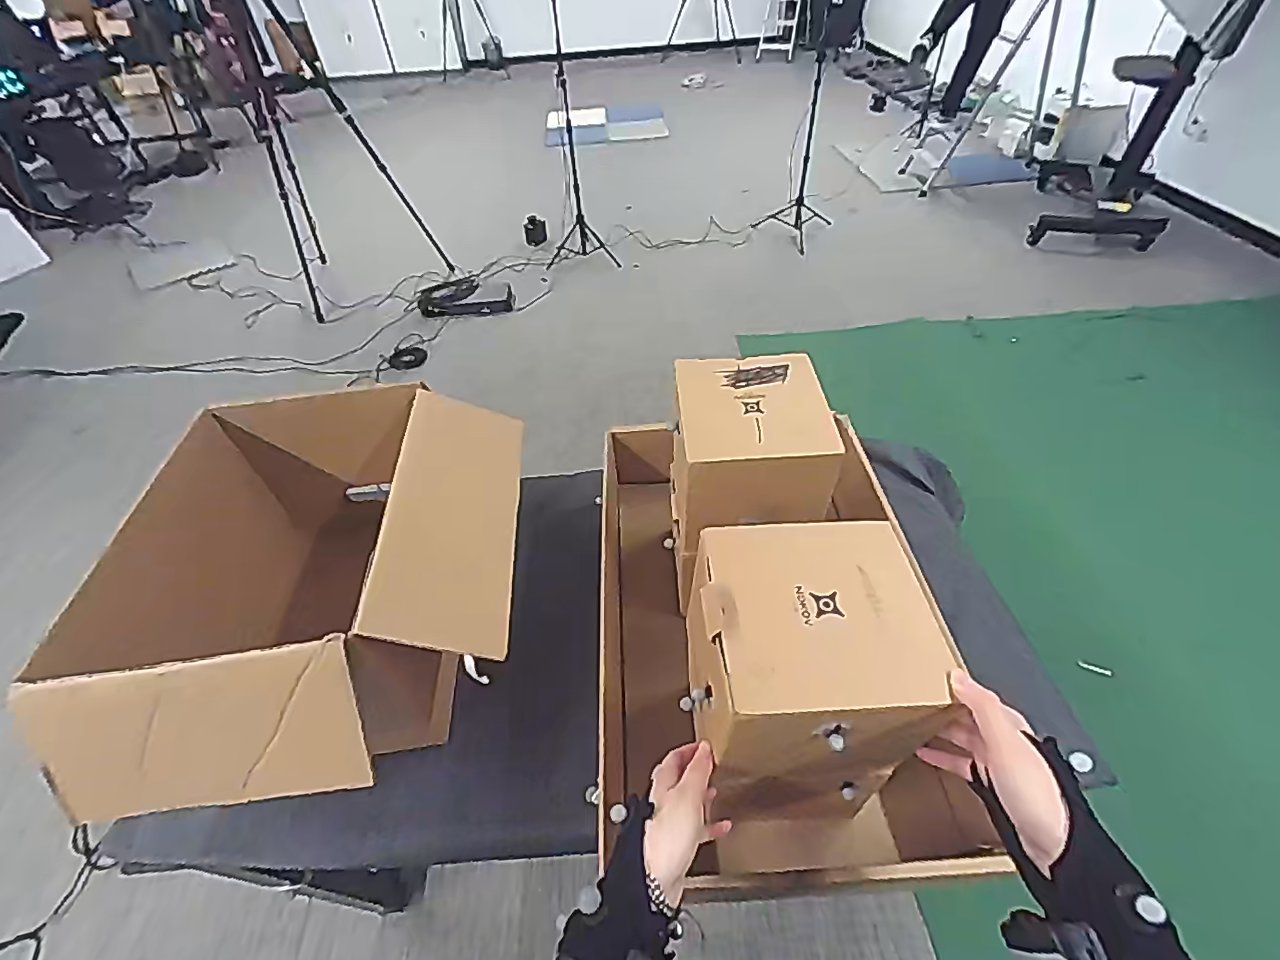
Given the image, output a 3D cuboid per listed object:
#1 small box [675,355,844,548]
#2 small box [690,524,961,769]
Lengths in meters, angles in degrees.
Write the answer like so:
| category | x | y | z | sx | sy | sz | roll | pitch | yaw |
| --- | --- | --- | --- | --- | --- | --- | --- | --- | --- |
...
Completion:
| category | x | y | z | sx | sy | sz | roll | pitch | yaw |
| --- | --- | --- | --- | --- | --- | --- | --- | --- | --- |
| small box | 0.131 | -0.034 | 0.674 | 0.168 | 0.176 | 0.179 | -3 | 50 | 1 |
| small box | 0.143 | 0.156 | 0.500 | 0.179 | 0.176 | 0.168 | -1 | 49 | -4 |
